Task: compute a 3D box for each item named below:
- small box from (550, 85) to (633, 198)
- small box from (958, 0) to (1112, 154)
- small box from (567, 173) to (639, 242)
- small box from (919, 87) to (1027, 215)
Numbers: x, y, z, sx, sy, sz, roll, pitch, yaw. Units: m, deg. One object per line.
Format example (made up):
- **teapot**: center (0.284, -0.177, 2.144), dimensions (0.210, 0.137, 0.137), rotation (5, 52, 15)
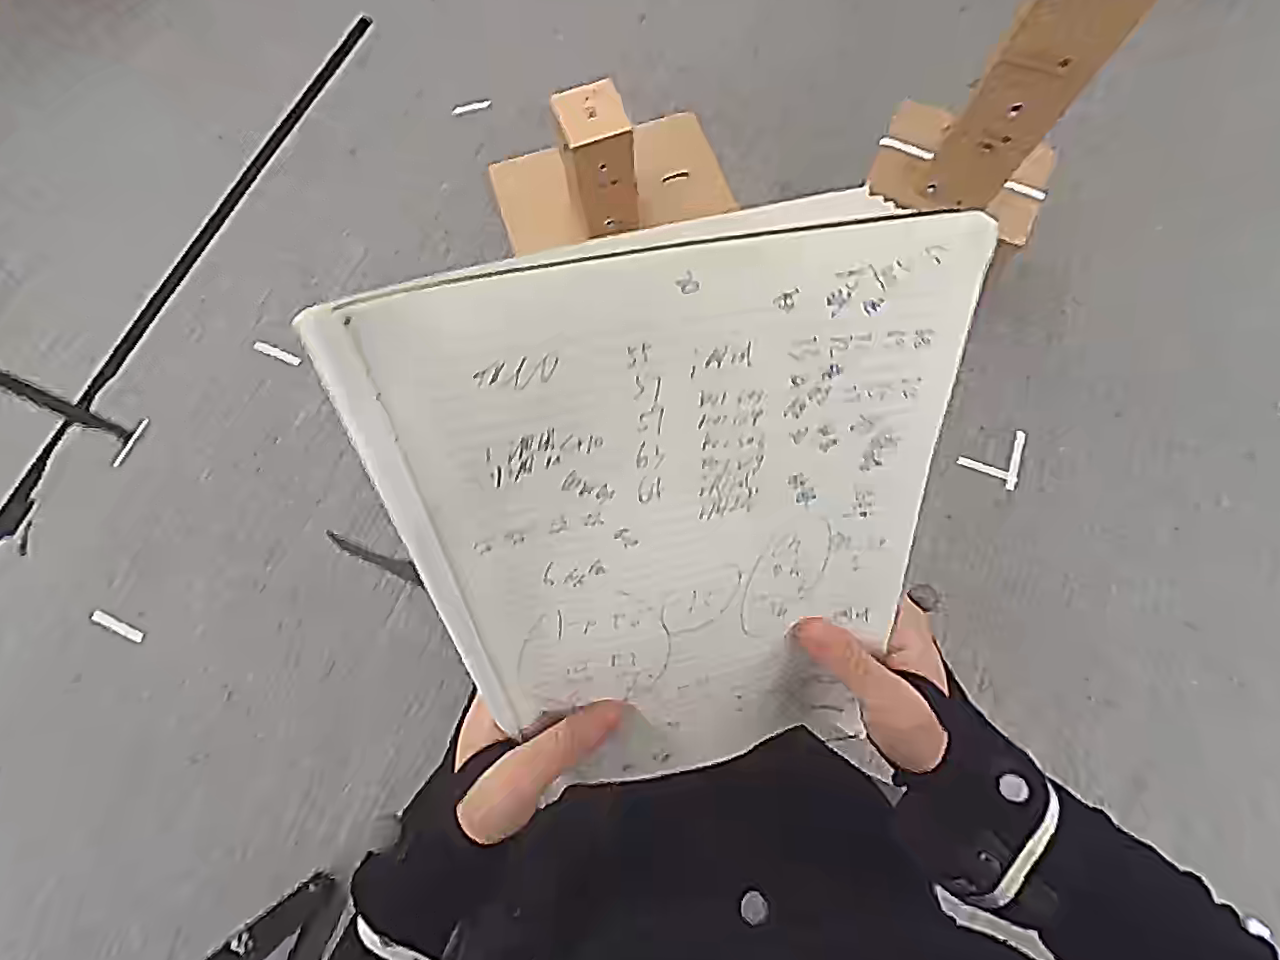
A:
- **small box**: center (-0.121, -0.875, 1.417), dimensions (0.168, 0.176, 0.179), rotation (-21, 75, -6)
- **small box**: center (0.771, -0.797, 1.075), dimensions (0.168, 0.176, 0.179), rotation (24, 78, 7)
- **small box**: center (-0.110, -0.839, 1.579), dimensions (0.168, 0.176, 0.179), rotation (-22, 77, -5)
- **small box**: center (0.769, -0.746, 1.231), dimensions (0.168, 0.176, 0.179), rotation (27, 77, 8)
